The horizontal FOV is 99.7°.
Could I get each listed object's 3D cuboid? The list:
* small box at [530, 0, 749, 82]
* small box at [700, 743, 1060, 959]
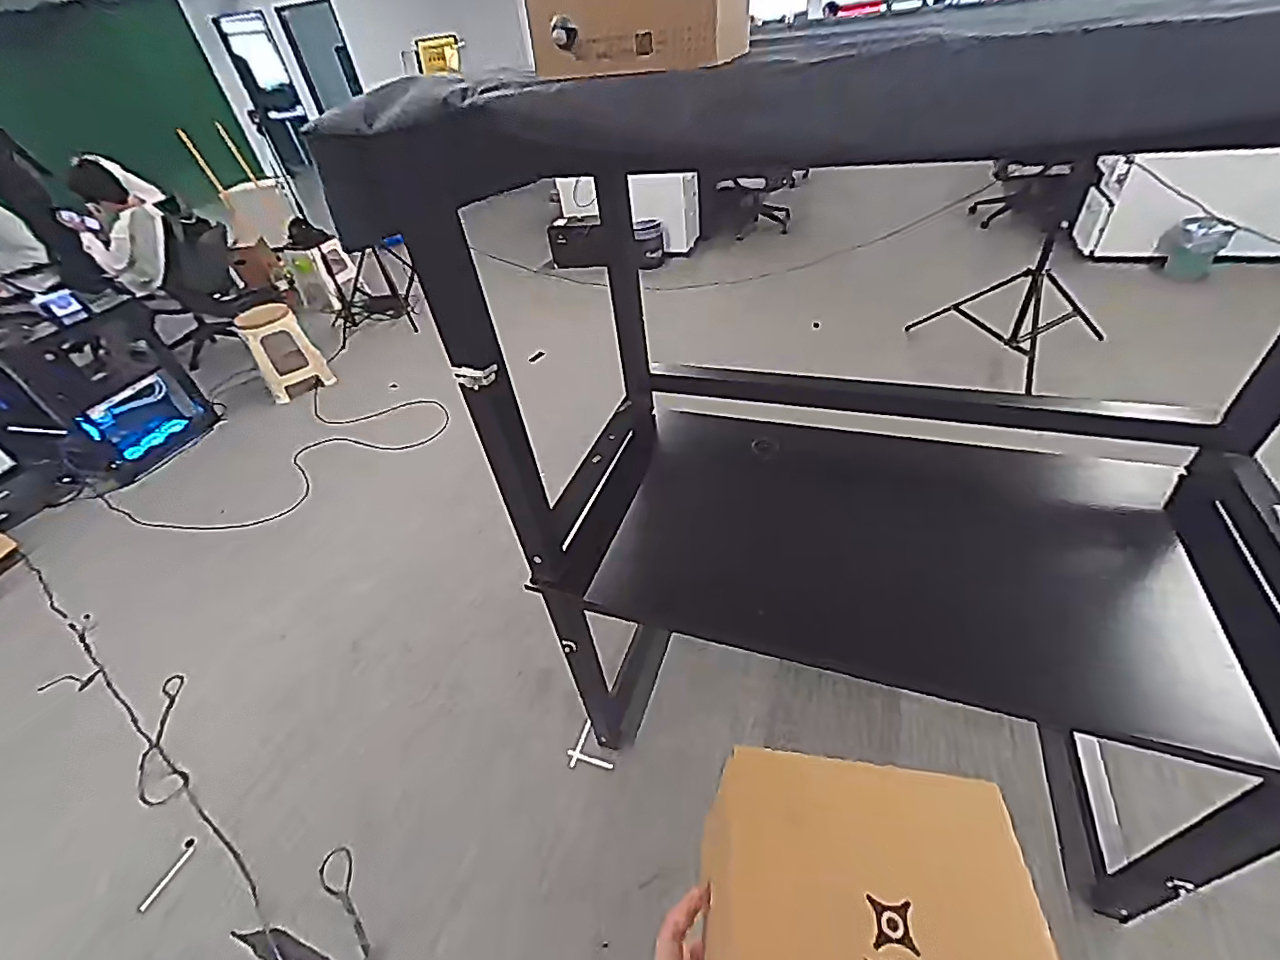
[{"bbox_3d":[0.004,-0.461,0.474,0.168,0.176,0.179,8,41,16],"label":"small box"},{"bbox_3d":[0.126,0.294,0.327,0.168,0.176,0.179,6,40,4],"label":"small box"}]
